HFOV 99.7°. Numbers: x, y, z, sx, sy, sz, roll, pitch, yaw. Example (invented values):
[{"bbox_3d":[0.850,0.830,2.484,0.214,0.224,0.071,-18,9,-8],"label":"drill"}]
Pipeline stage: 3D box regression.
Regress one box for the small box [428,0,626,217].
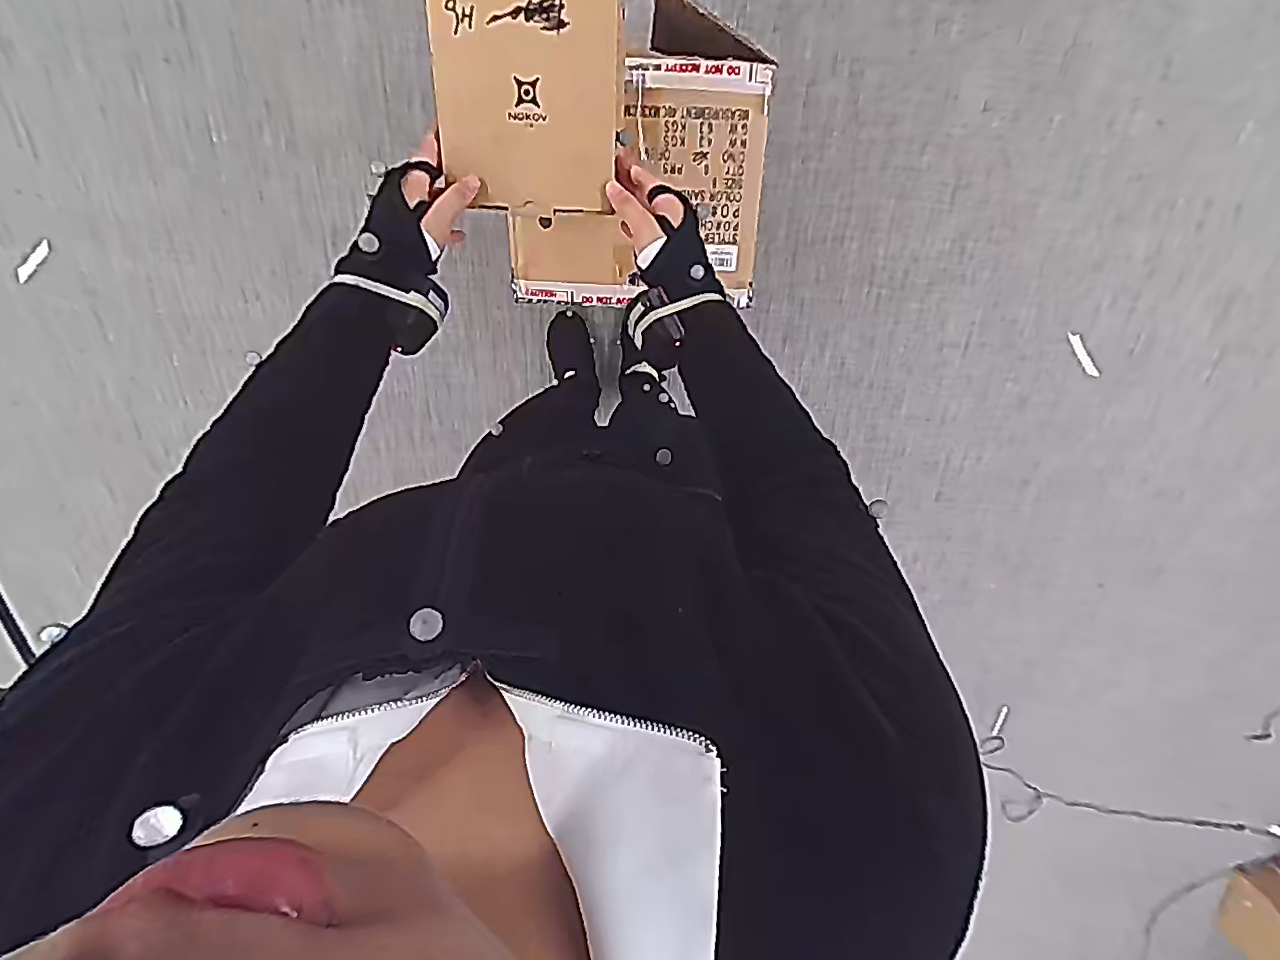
[{"bbox_3d":[-0.101,-0.379,0.567,0.168,0.176,0.179,2,117,0],"label":"small box"}]
